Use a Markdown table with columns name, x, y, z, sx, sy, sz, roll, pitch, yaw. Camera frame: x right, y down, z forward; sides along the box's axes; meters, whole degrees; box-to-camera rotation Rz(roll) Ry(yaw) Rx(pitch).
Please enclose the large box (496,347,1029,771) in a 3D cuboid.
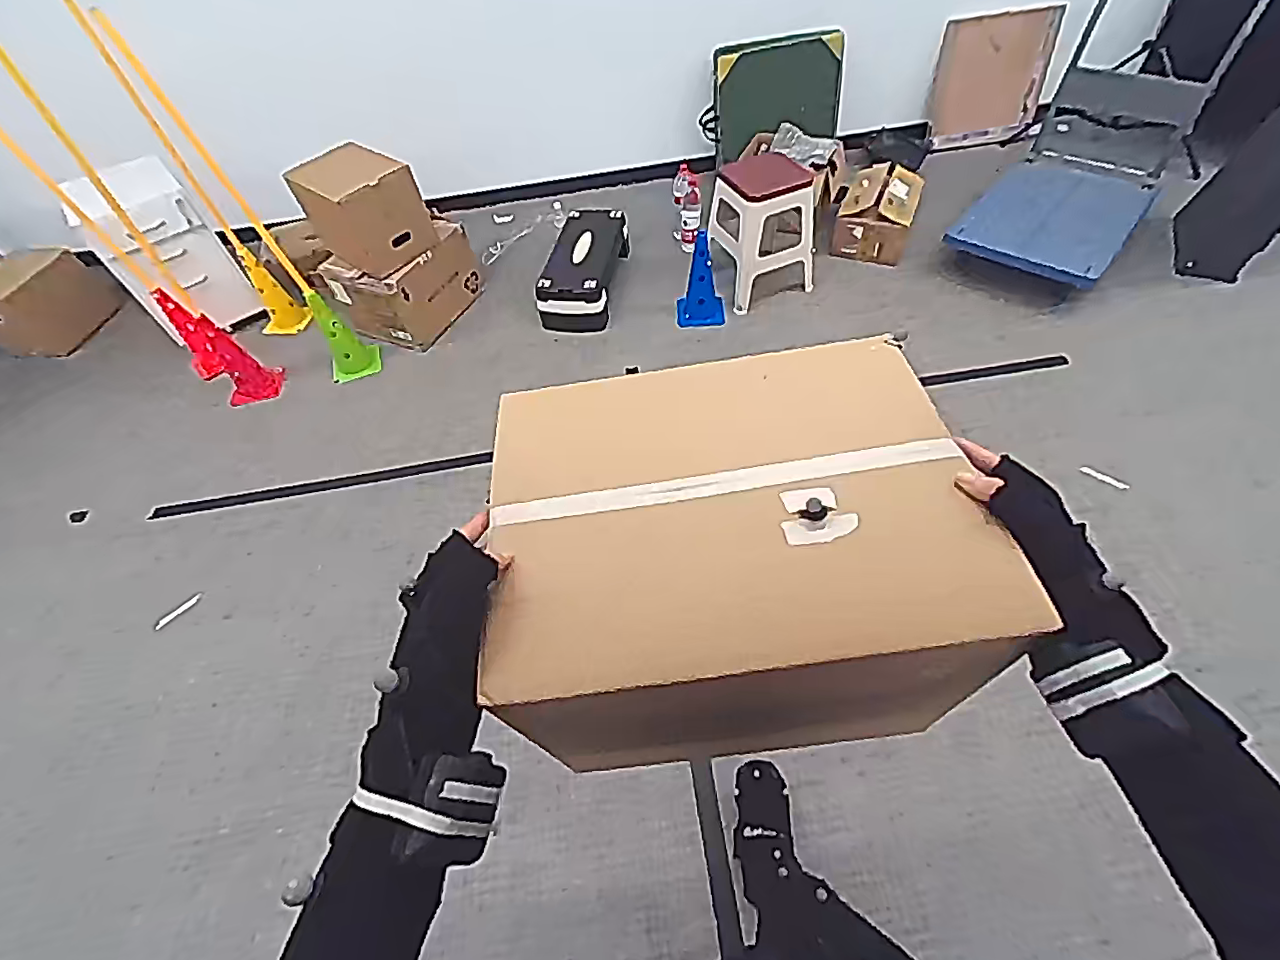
| name | x | y | z | sx | sy | sz | roll | pitch | yaw |
| --- | --- | --- | --- | --- | --- | --- | --- | --- | --- |
| large box | 0.088 | 0.100 | 0.600 | 0.408 | 0.320 | 0.320 | -9 | 53 | 2 |
